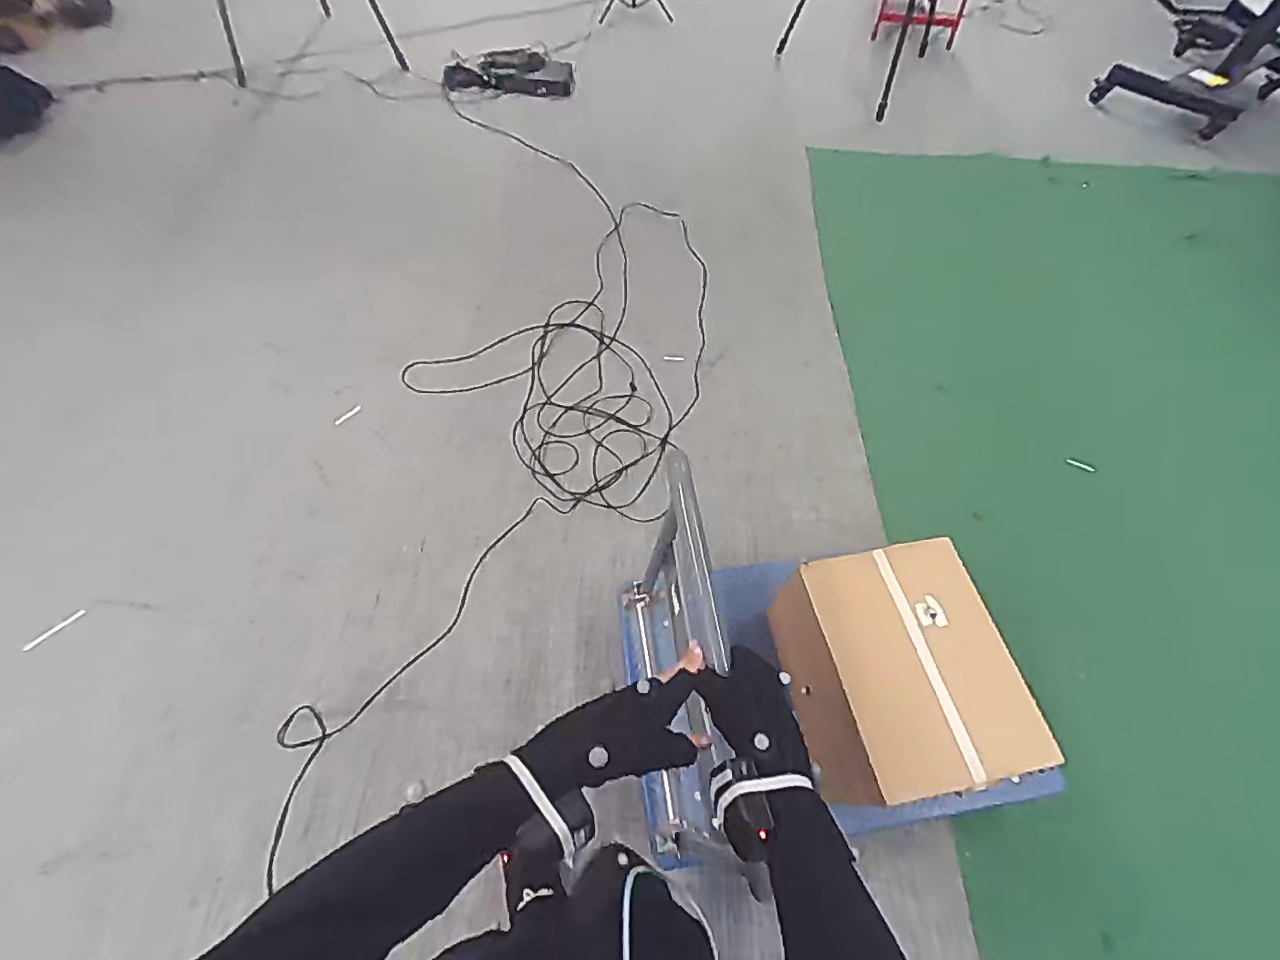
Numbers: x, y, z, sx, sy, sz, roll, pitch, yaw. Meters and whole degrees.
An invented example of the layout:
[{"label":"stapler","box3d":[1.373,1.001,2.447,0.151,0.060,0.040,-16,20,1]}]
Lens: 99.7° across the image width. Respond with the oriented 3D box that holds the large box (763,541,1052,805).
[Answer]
[{"label":"large box","box3d":[0.478,0.386,1.079,0.320,0.320,0.408,-8,59,-7]}]
